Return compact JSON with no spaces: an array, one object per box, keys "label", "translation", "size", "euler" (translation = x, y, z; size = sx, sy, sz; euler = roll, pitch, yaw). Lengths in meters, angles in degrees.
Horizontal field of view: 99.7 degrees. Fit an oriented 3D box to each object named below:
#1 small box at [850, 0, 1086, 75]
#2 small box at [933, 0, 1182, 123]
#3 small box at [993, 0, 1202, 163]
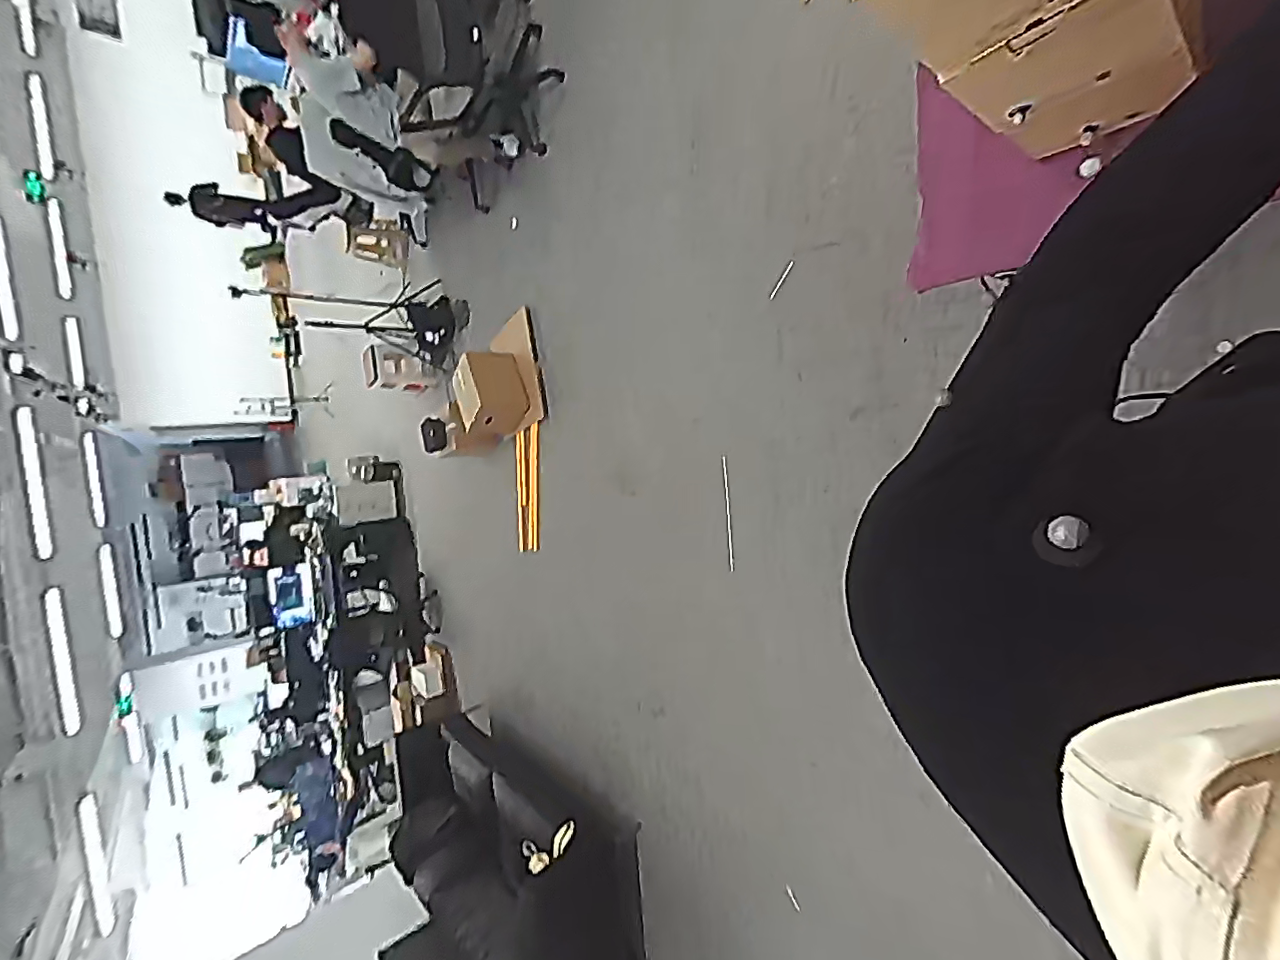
[{"label":"small box","translation":[0.282,-0.483,0.432],"size":[0.168,0.176,0.179],"euler":[-3,92,53]},{"label":"small box","translation":[0.409,-0.492,0.536],"size":[0.168,0.176,0.179],"euler":[-2,93,51]},{"label":"small box","translation":[0.535,-0.516,0.639],"size":[0.168,0.176,0.179],"euler":[-2,95,51]}]
